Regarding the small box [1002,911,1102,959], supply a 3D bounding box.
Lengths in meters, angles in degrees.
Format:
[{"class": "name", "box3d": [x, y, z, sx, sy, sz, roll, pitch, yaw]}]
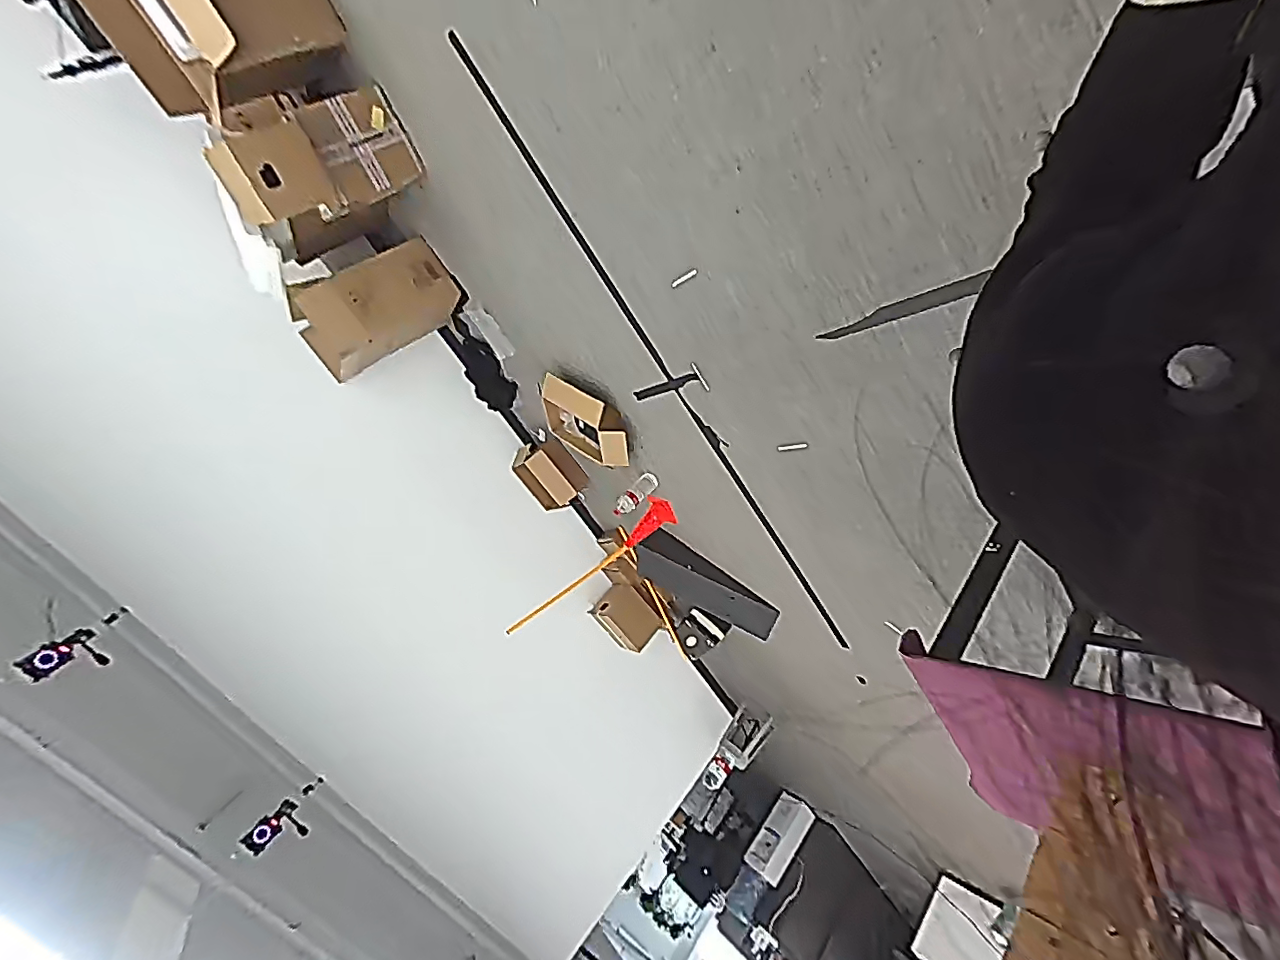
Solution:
[{"class": "small box", "box3d": [0.744, 0.913, 0.944, 0.168, 0.176, 0.179, 6, 135, 55]}]

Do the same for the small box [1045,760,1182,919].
[{"class": "small box", "box3d": [0.958, 0.715, 1.091, 0.168, 0.176, 0.179, 2, 130, 54]}]
